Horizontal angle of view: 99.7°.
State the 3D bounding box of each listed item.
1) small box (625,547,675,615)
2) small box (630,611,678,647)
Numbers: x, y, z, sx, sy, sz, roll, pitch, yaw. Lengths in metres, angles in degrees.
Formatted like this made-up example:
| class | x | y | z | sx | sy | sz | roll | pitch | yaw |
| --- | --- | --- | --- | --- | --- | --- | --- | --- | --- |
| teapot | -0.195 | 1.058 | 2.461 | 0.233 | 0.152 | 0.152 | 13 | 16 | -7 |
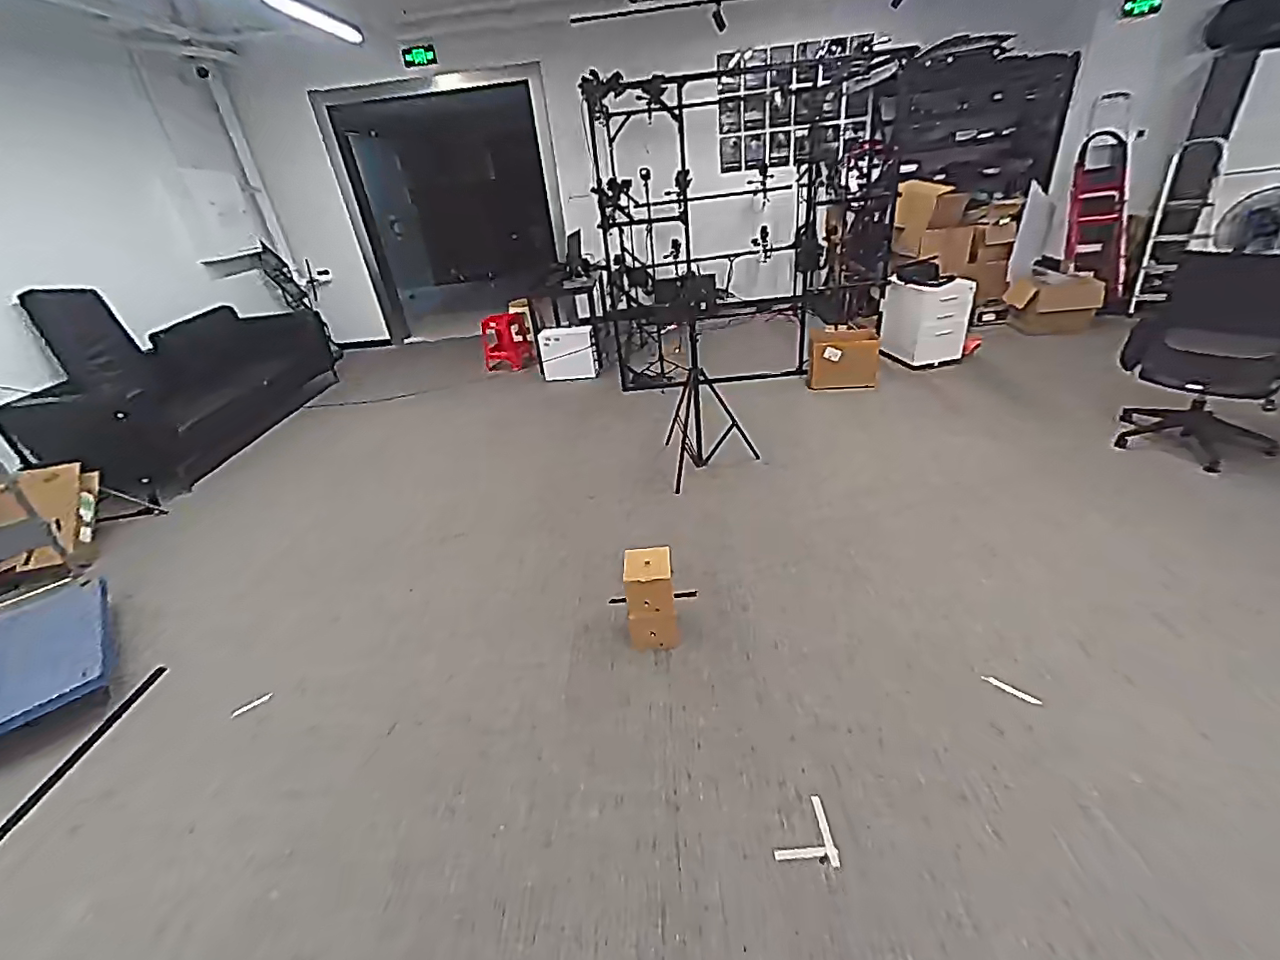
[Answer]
| class | x | y | z | sx | sy | sz | roll | pitch | yaw |
| --- | --- | --- | --- | --- | --- | --- | --- | --- | --- |
| small box | 0.038 | 0.367 | 1.960 | 0.168 | 0.176 | 0.179 | -6 | 30 | 4 |
| small box | 0.052 | 0.513 | 2.033 | 0.168 | 0.176 | 0.179 | -6 | 29 | 1 |
